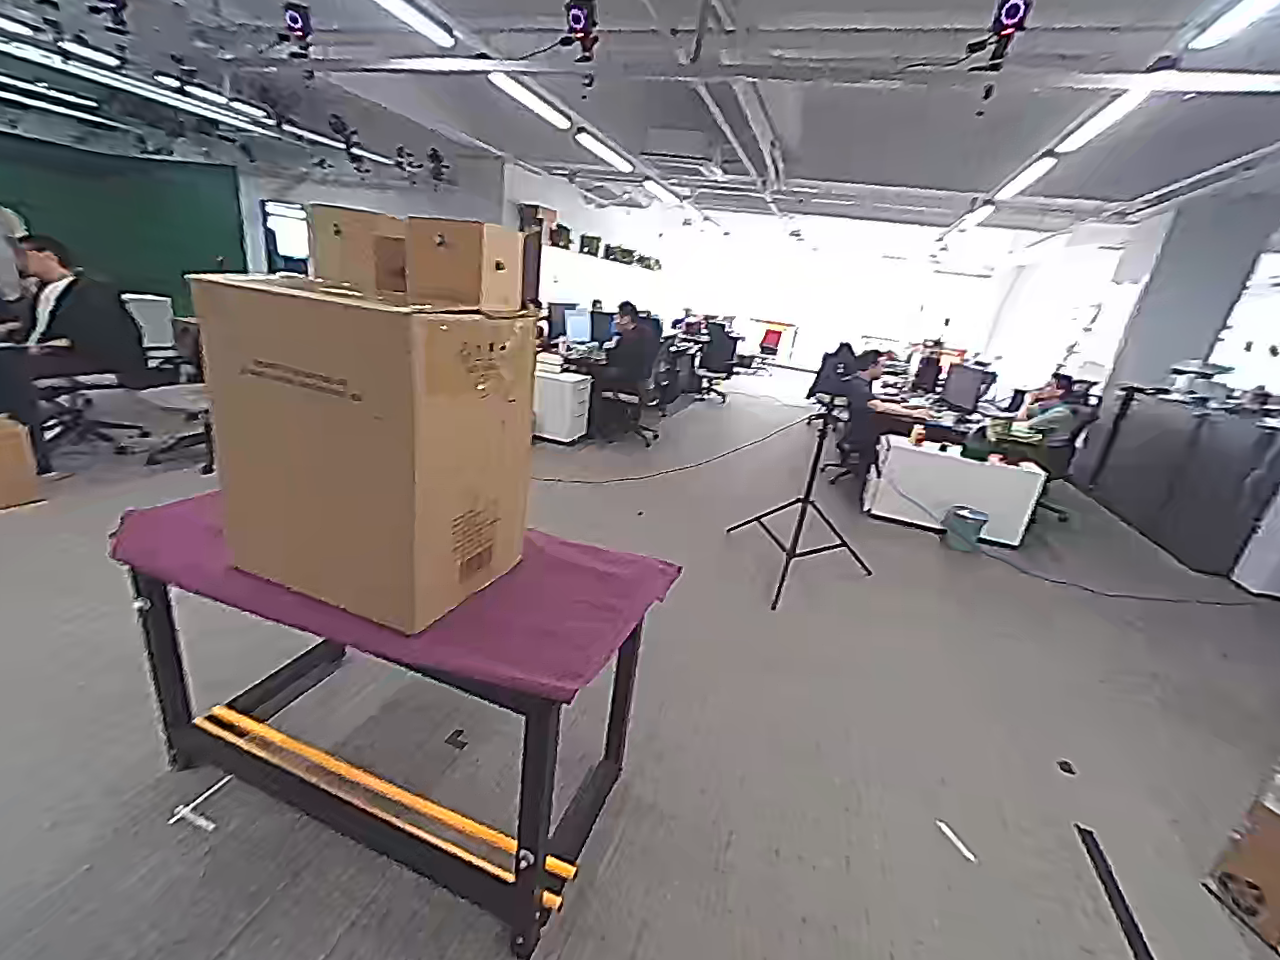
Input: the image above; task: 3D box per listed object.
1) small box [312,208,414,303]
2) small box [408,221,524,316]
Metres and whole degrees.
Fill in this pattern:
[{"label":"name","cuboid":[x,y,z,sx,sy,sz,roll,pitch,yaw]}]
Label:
[{"label":"small box","cuboid":[-0.594,-0.495,1.207,0.179,0.176,0.168,15,22,16]},{"label":"small box","cuboid":[-0.363,-0.443,1.149,0.179,0.176,0.168,10,19,13]}]
